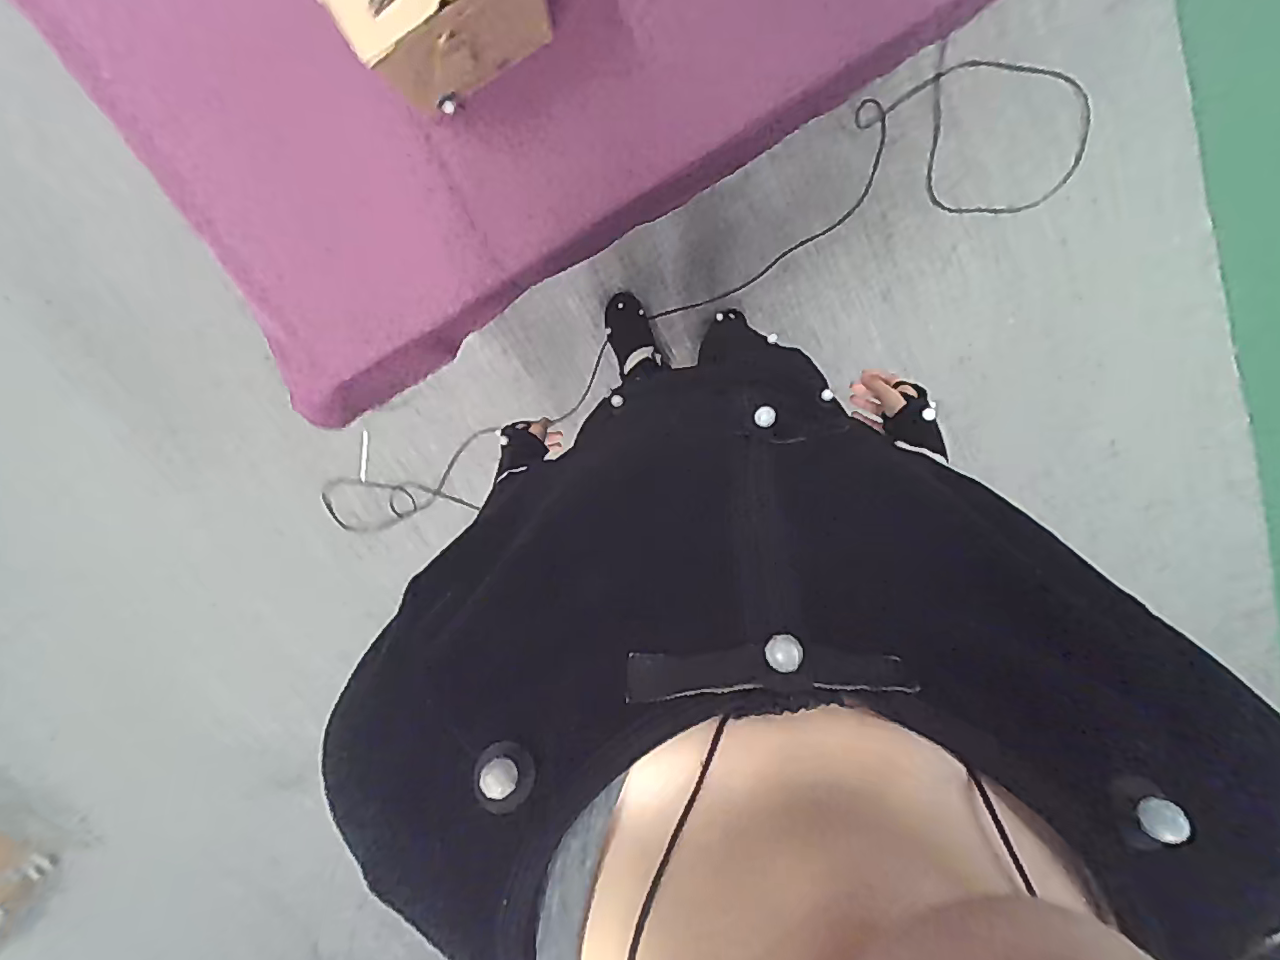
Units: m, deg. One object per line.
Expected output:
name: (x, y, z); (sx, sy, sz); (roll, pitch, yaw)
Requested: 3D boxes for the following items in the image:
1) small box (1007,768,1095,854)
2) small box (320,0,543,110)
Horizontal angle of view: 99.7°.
small box: (1.465, 1.180, 1.934); (0.168, 0.176, 0.179); (-30, 107, 7)
small box: (-0.206, -0.476, 0.492); (0.168, 0.176, 0.179); (-29, 108, 7)
